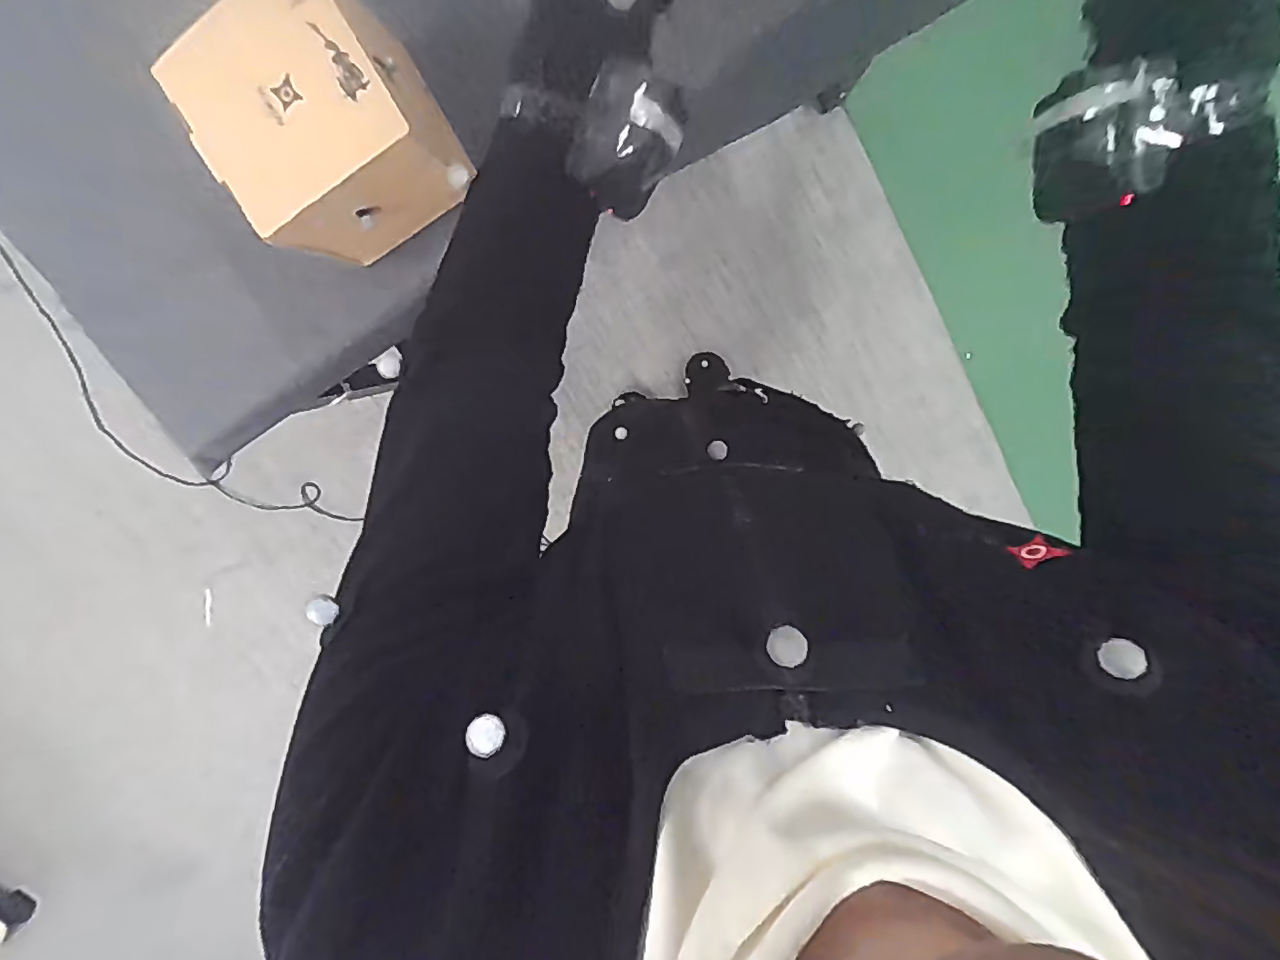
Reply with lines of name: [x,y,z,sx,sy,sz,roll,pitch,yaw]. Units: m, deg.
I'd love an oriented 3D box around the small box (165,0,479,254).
small box: [-0.298,-0.354,0.547,0.179,0.176,0.168,-28,100,12]
